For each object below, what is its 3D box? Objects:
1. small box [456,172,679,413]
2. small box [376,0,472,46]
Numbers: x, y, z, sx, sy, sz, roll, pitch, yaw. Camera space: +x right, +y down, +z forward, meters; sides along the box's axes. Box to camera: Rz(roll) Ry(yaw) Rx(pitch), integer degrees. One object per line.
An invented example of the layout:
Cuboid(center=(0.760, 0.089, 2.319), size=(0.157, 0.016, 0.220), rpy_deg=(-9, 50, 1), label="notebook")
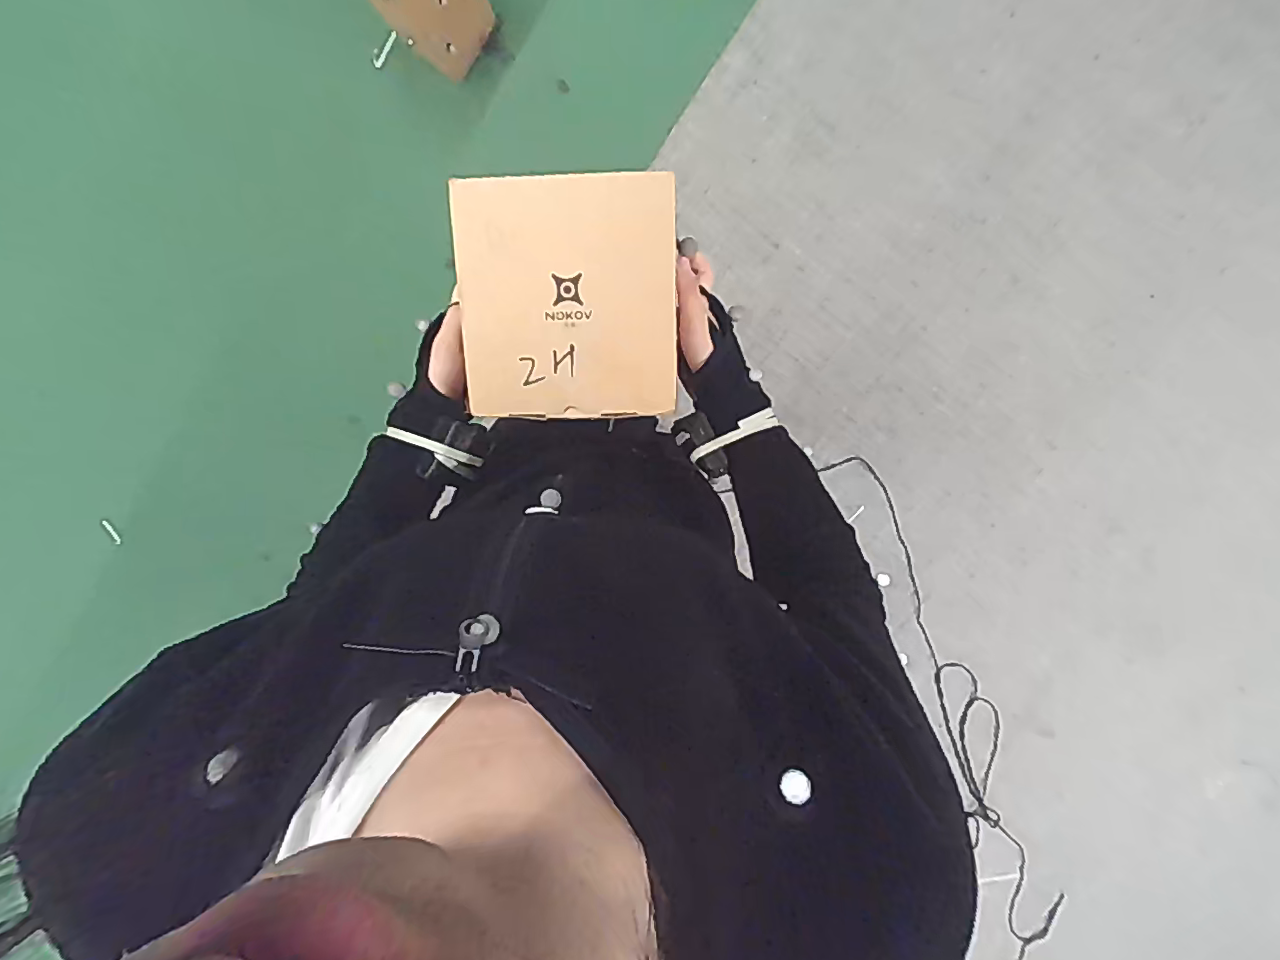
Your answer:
Cuboid(center=(-0.049, -0.156, 0.492), size=(0.168, 0.176, 0.179), rpy_deg=(0, 104, 5), label="small box")
Cuboid(center=(-0.442, -0.999, 1.039), size=(0.179, 0.176, 0.168), rpy_deg=(35, 101, -6), label="small box")
